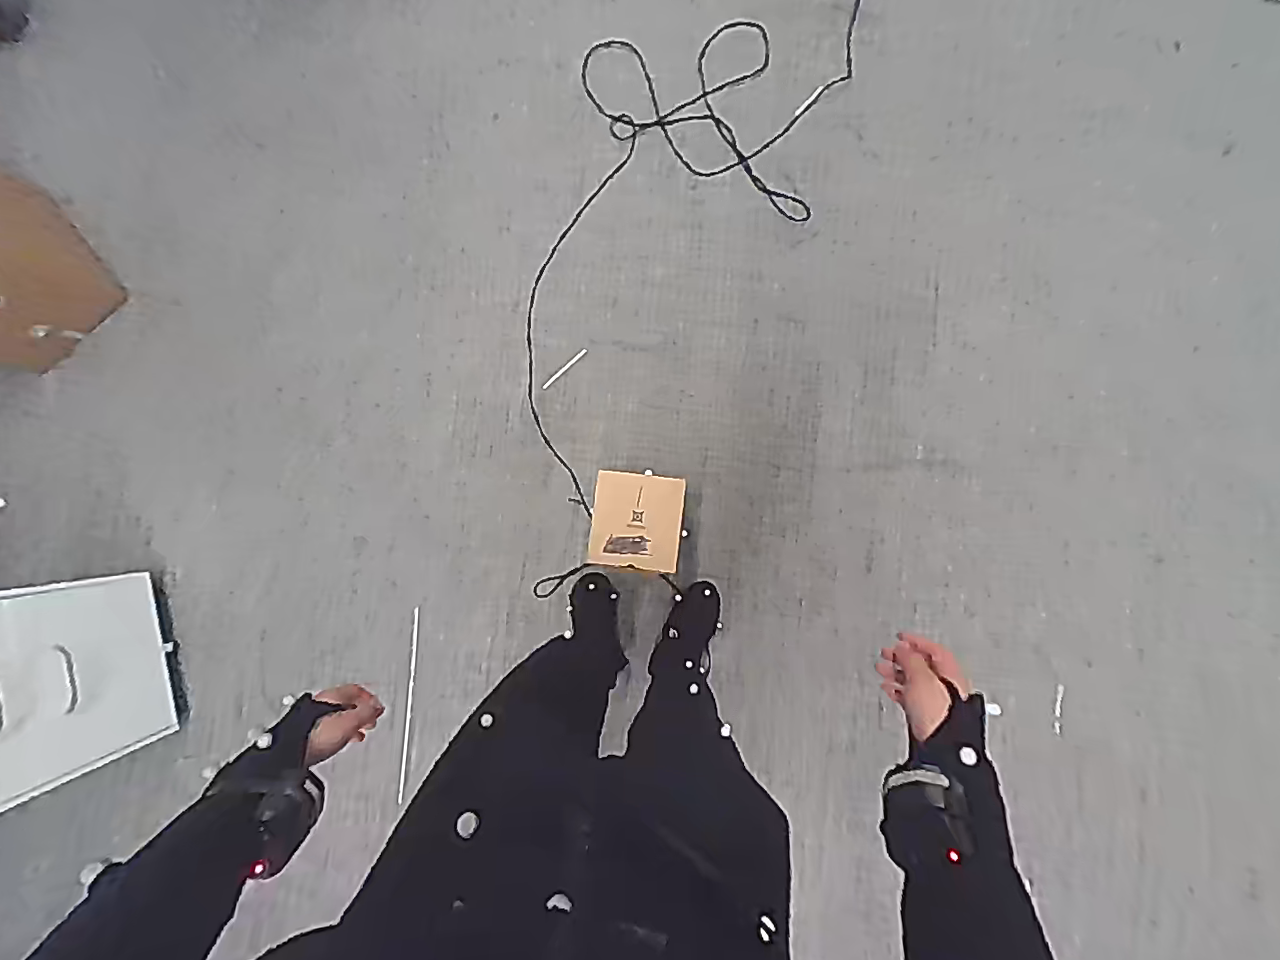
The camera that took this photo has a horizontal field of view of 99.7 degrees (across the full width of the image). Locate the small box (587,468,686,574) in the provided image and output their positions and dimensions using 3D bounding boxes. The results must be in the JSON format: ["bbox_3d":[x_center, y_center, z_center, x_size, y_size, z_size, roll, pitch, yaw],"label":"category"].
[{"bbox_3d":[-0.001,0.079,1.067,0.168,0.176,0.179,8,87,4],"label":"small box"}]
